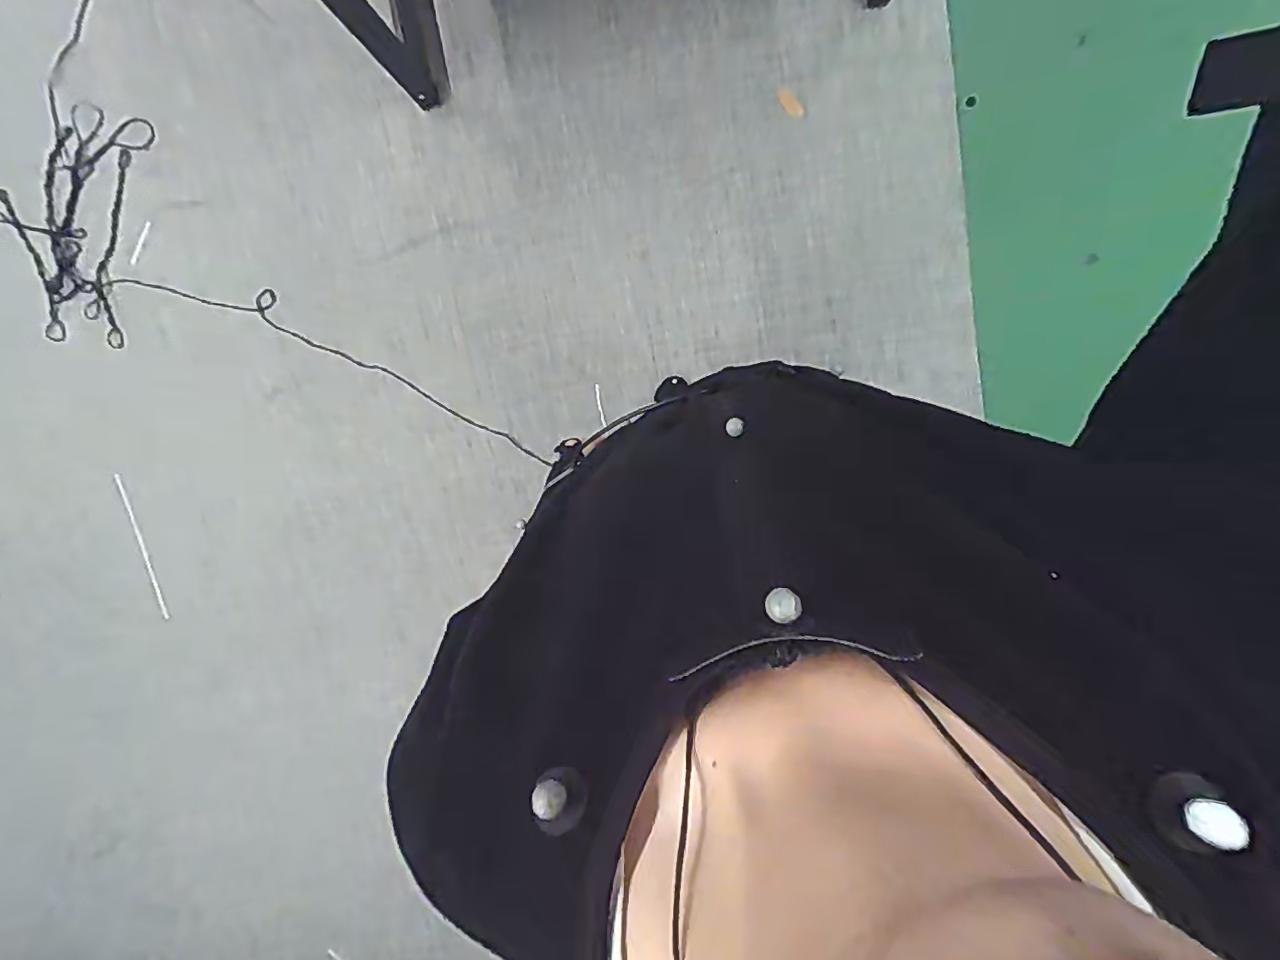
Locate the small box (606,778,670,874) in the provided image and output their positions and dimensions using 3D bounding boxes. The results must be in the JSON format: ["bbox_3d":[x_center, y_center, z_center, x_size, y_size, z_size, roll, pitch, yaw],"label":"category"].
[{"bbox_3d":[-0.002,0.992,1.563,0.168,0.176,0.179,-2,99,7],"label":"small box"}]
